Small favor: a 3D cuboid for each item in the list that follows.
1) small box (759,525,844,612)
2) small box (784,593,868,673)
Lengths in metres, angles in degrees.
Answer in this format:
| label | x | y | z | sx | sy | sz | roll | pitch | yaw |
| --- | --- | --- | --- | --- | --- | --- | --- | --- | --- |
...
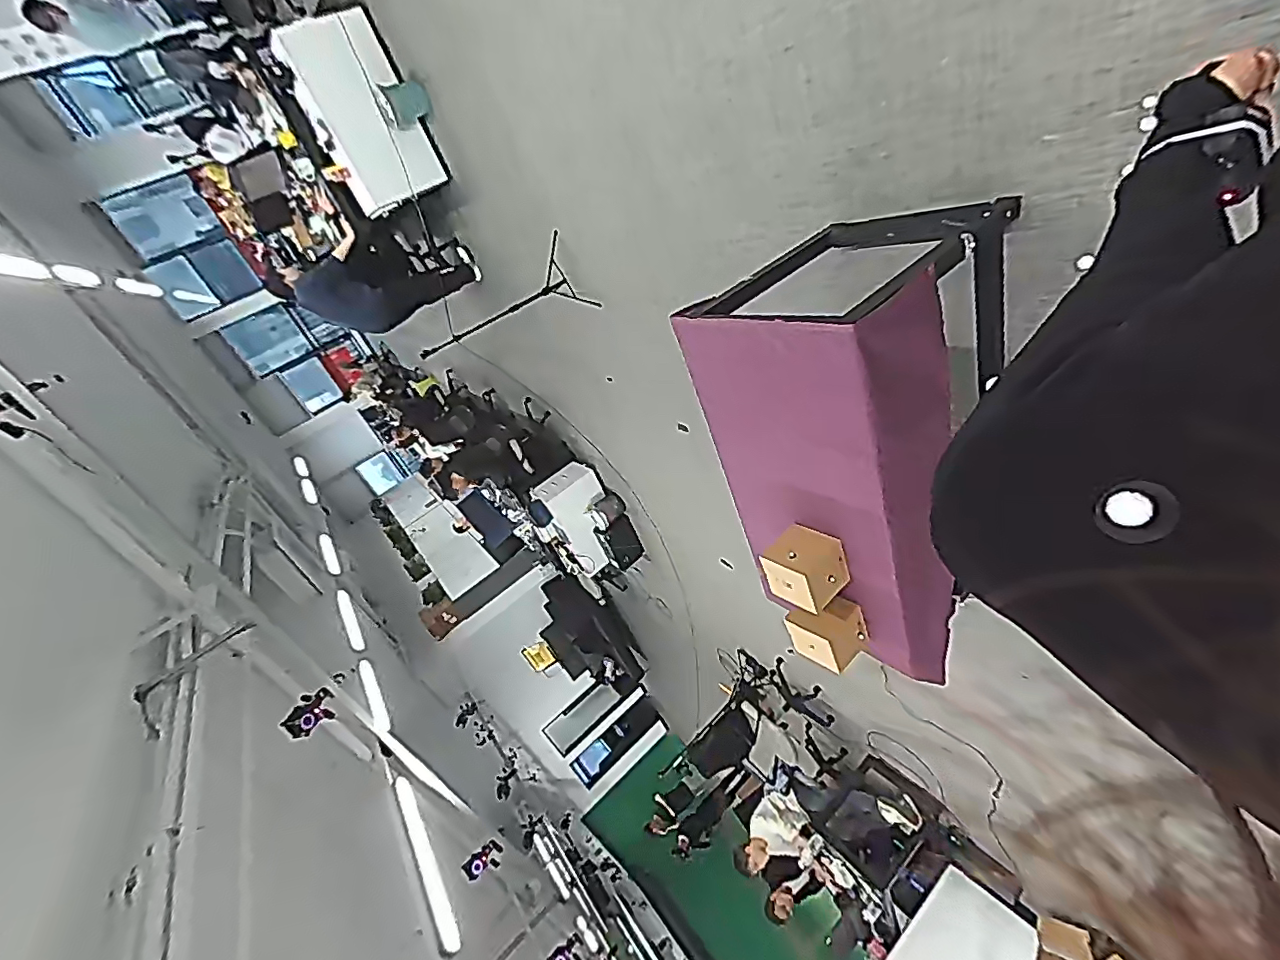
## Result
| label | x | y | z | sx | sy | sz | roll | pitch | yaw |
| --- | --- | --- | --- | --- | --- | --- | --- | --- | --- |
| small box | 0.495 | 0.259 | 1.632 | 0.179 | 0.176 | 0.168 | 22 | 143 | 53 |
| small box | 0.605 | 0.479 | 1.754 | 0.179 | 0.176 | 0.168 | 20 | 142 | 54 |
